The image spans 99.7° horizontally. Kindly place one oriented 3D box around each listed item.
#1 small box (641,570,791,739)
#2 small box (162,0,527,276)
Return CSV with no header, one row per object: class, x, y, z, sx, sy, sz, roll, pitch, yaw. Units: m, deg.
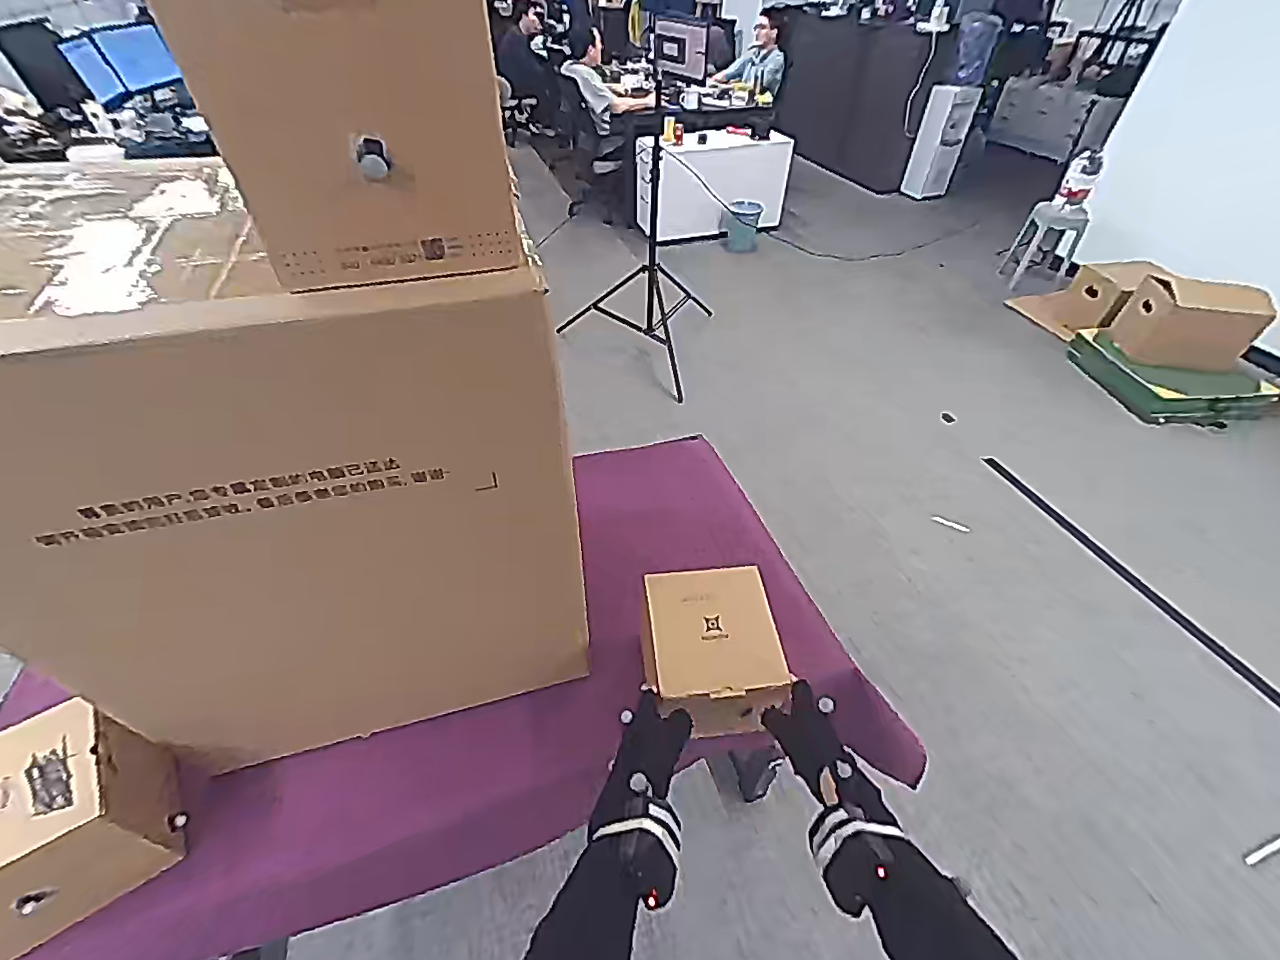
small box,0.094,0.250,0.764,0.168,0.176,0.179,-3,46,-7
small box,-0.184,-0.261,0.394,0.168,0.176,0.179,-12,47,-12
